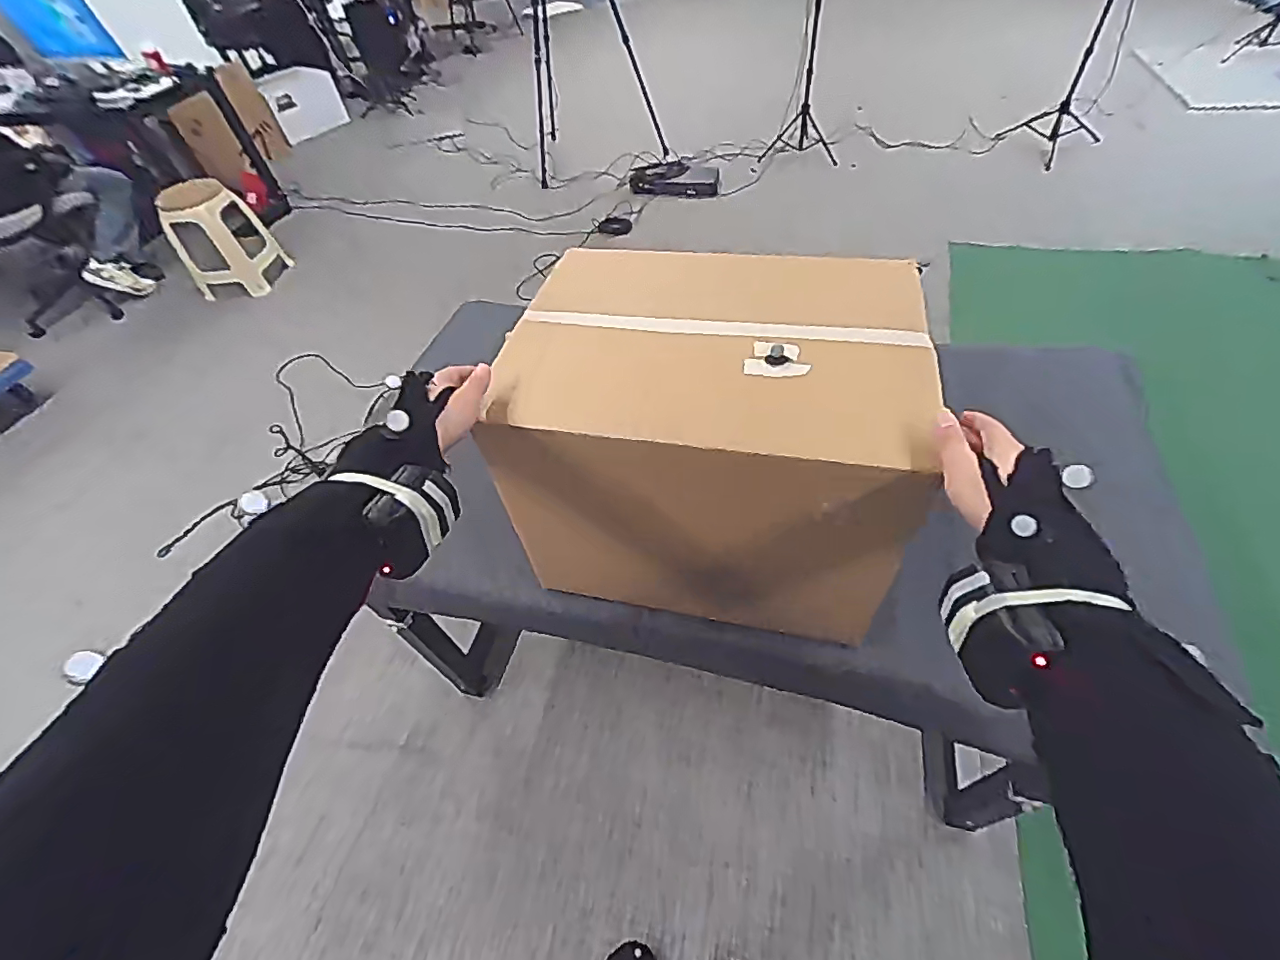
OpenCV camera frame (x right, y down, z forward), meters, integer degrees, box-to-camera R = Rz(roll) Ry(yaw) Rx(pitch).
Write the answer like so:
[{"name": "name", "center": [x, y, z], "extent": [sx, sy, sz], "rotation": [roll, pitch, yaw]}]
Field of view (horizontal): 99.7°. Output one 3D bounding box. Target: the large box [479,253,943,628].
[{"name": "large box", "center": [0.085, -0.053, 0.661], "extent": [0.408, 0.320, 0.320], "rotation": [8, 51, 12]}]
